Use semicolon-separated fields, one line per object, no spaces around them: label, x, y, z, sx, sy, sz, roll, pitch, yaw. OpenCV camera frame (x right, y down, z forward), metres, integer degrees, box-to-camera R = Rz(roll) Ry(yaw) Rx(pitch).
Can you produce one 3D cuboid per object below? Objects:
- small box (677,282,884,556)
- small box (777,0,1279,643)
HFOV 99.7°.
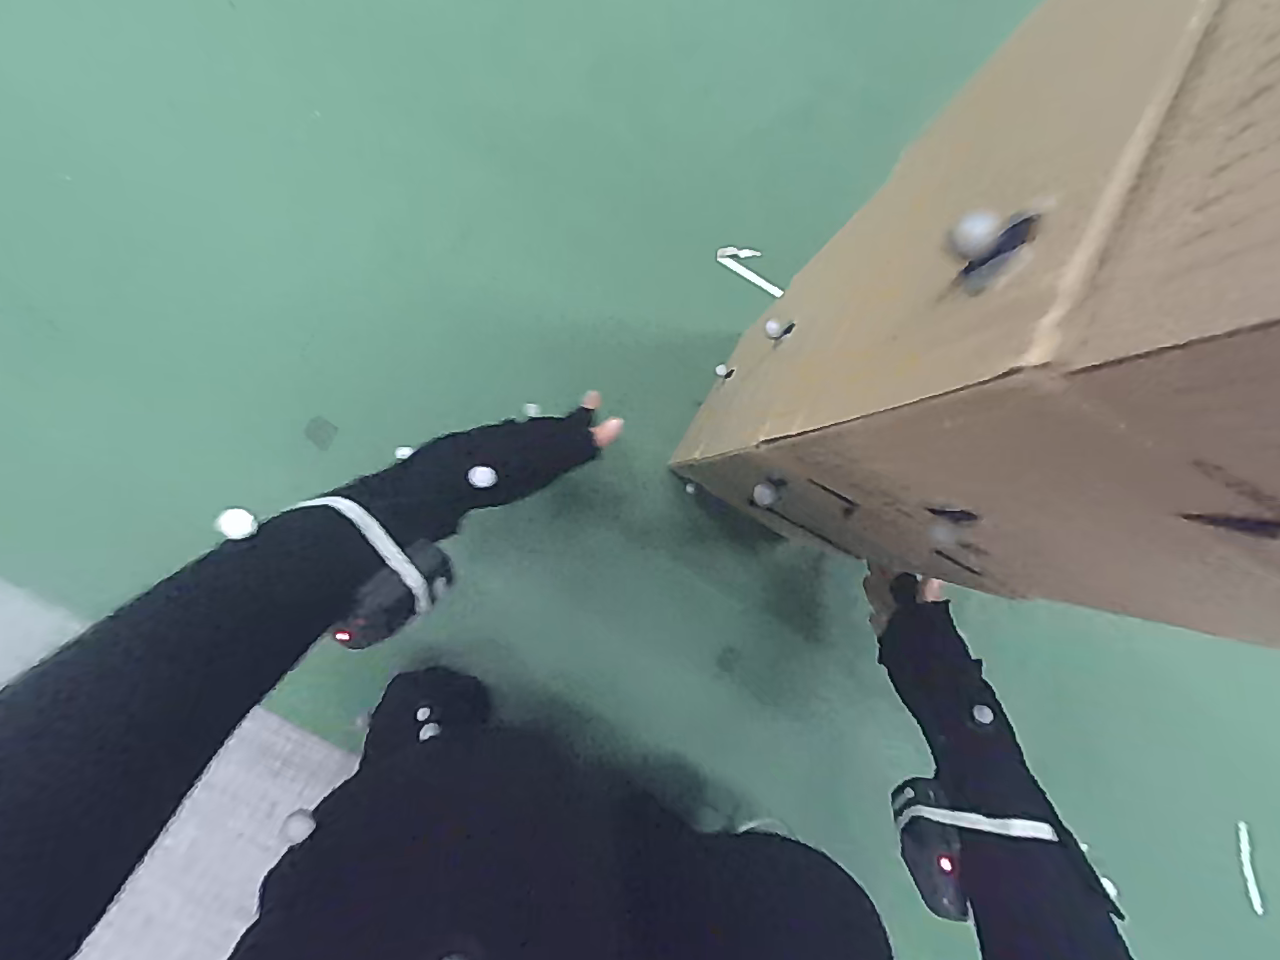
small box;0.149;-0.049;0.528;0.168;0.176;0.179;31;87;-4
small box;0.176;-0.059;0.202;0.168;0.176;0.179;27;87;-5
